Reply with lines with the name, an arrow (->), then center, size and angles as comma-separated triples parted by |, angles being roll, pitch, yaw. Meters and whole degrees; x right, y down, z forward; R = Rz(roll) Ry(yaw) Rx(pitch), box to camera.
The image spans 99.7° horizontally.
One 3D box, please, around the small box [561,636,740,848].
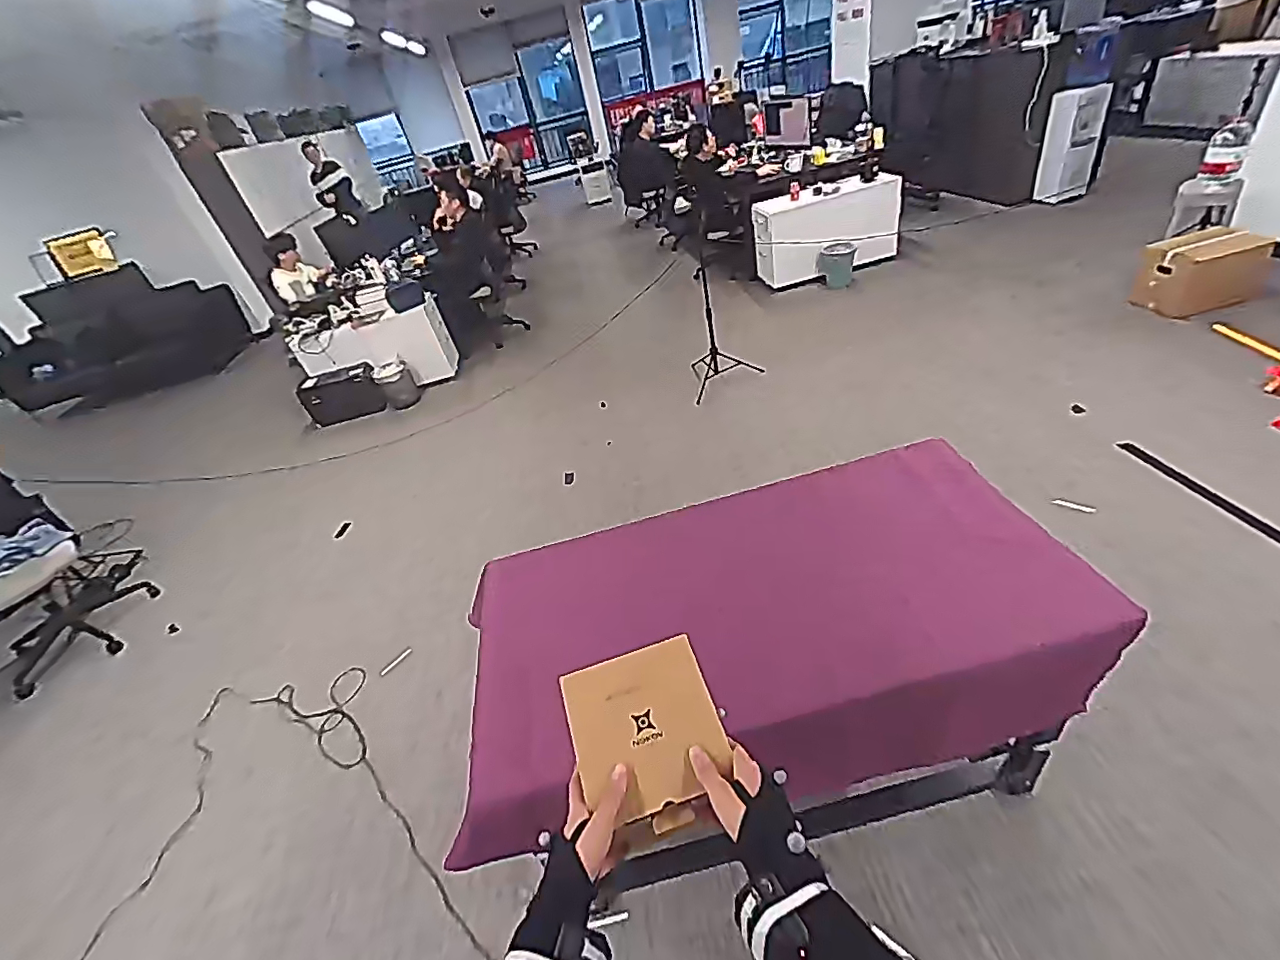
small box -> 0.014, 0.327, 0.665 | 0.168, 0.176, 0.179 | -16, 49, -7
